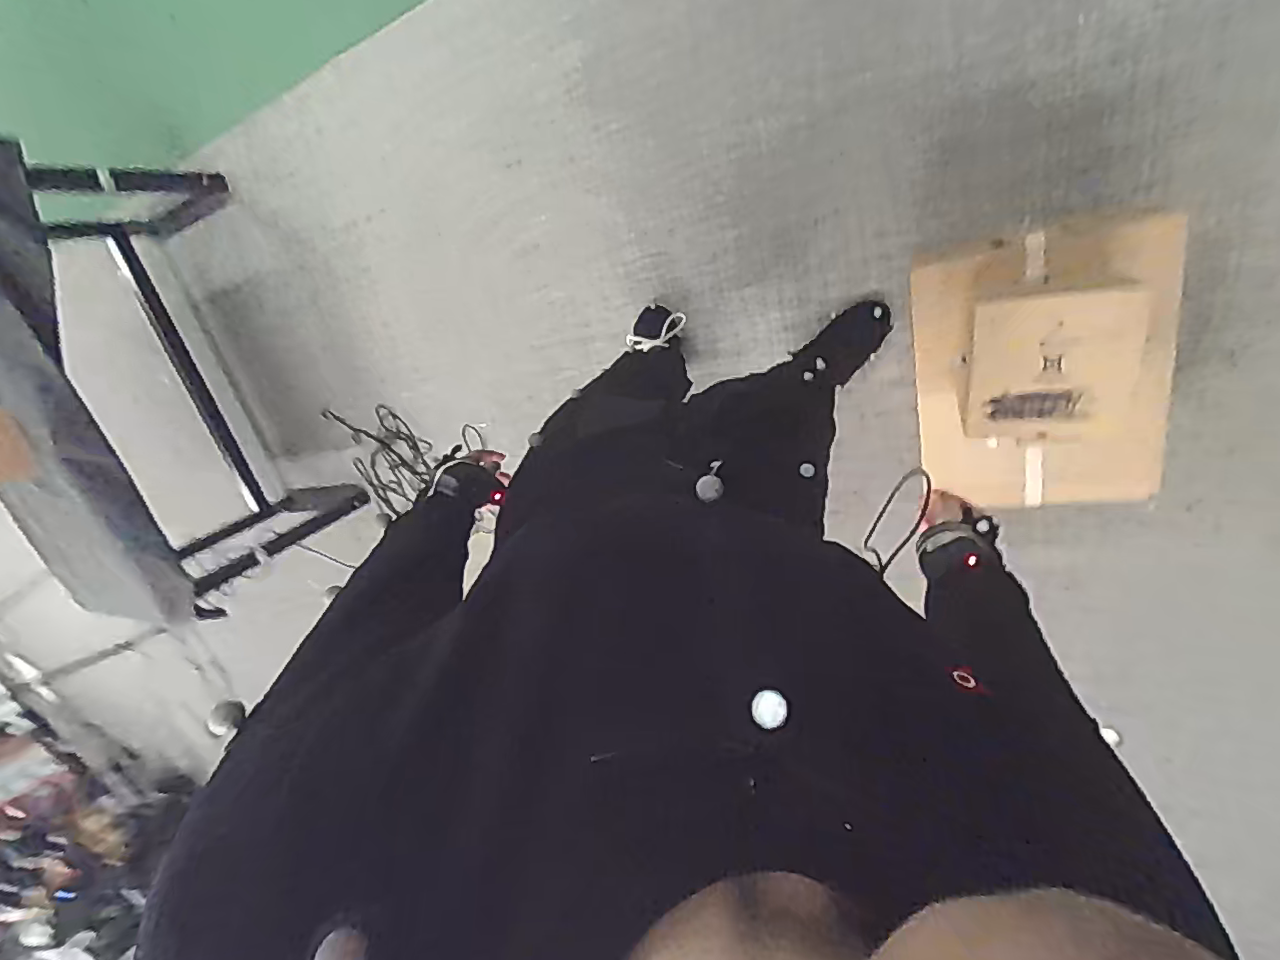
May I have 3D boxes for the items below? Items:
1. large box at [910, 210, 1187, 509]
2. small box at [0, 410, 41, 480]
[{"bbox_3d":[0.651,-0.203,0.927,0.320,0.320,0.408,-3,114,29],"label":"large box"},{"bbox_3d":[-1.674,-0.084,1.344,0.168,0.176,0.179,6,118,26],"label":"small box"}]
